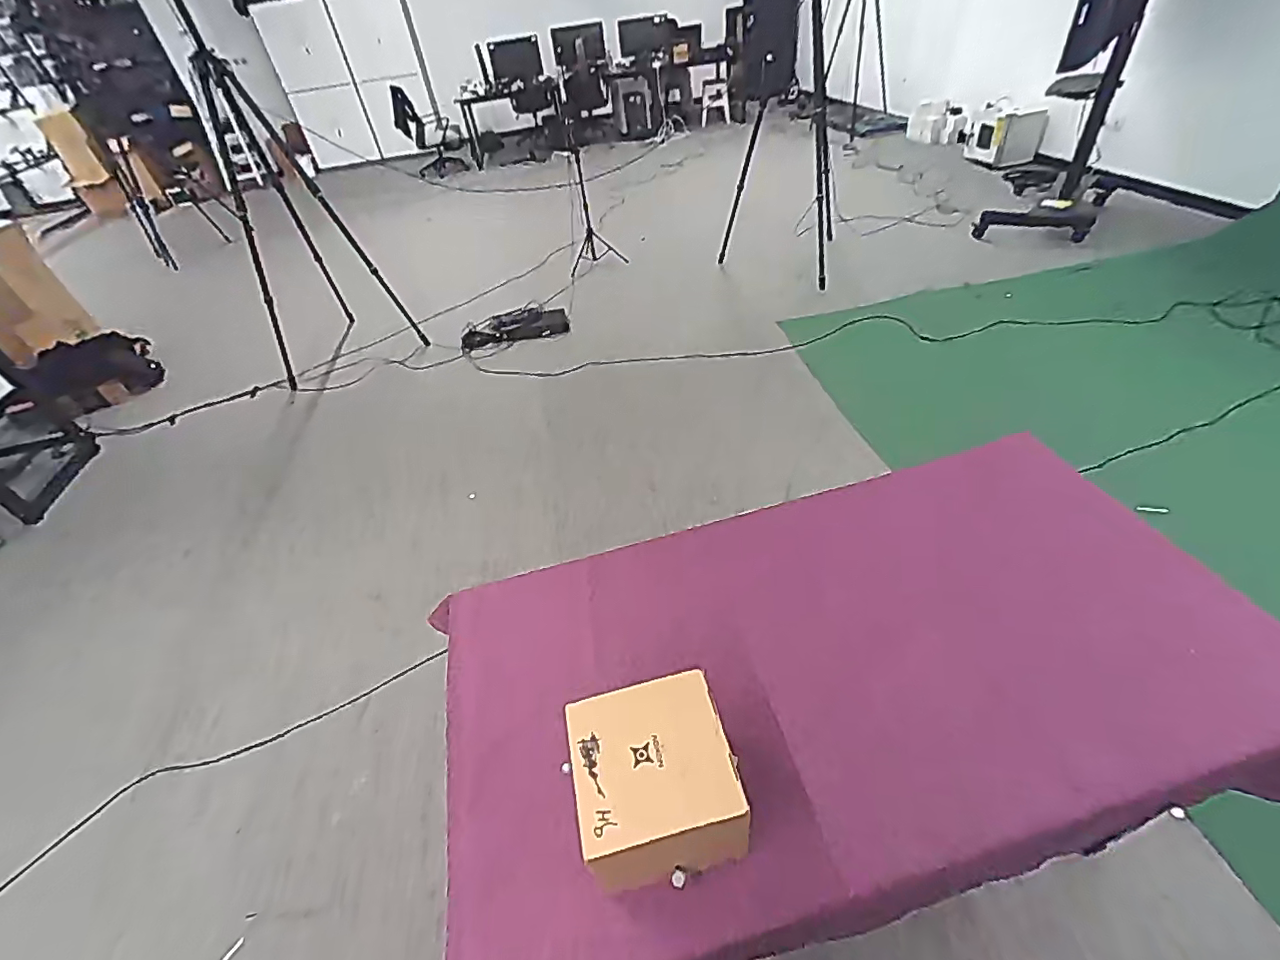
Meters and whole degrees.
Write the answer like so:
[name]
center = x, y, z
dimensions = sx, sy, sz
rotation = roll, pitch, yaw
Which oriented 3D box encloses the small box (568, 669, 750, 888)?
[small box]
center = 0.021, 0.361, 0.656
dimensions = 0.179, 0.176, 0.168
rotation = -13, 42, -5
